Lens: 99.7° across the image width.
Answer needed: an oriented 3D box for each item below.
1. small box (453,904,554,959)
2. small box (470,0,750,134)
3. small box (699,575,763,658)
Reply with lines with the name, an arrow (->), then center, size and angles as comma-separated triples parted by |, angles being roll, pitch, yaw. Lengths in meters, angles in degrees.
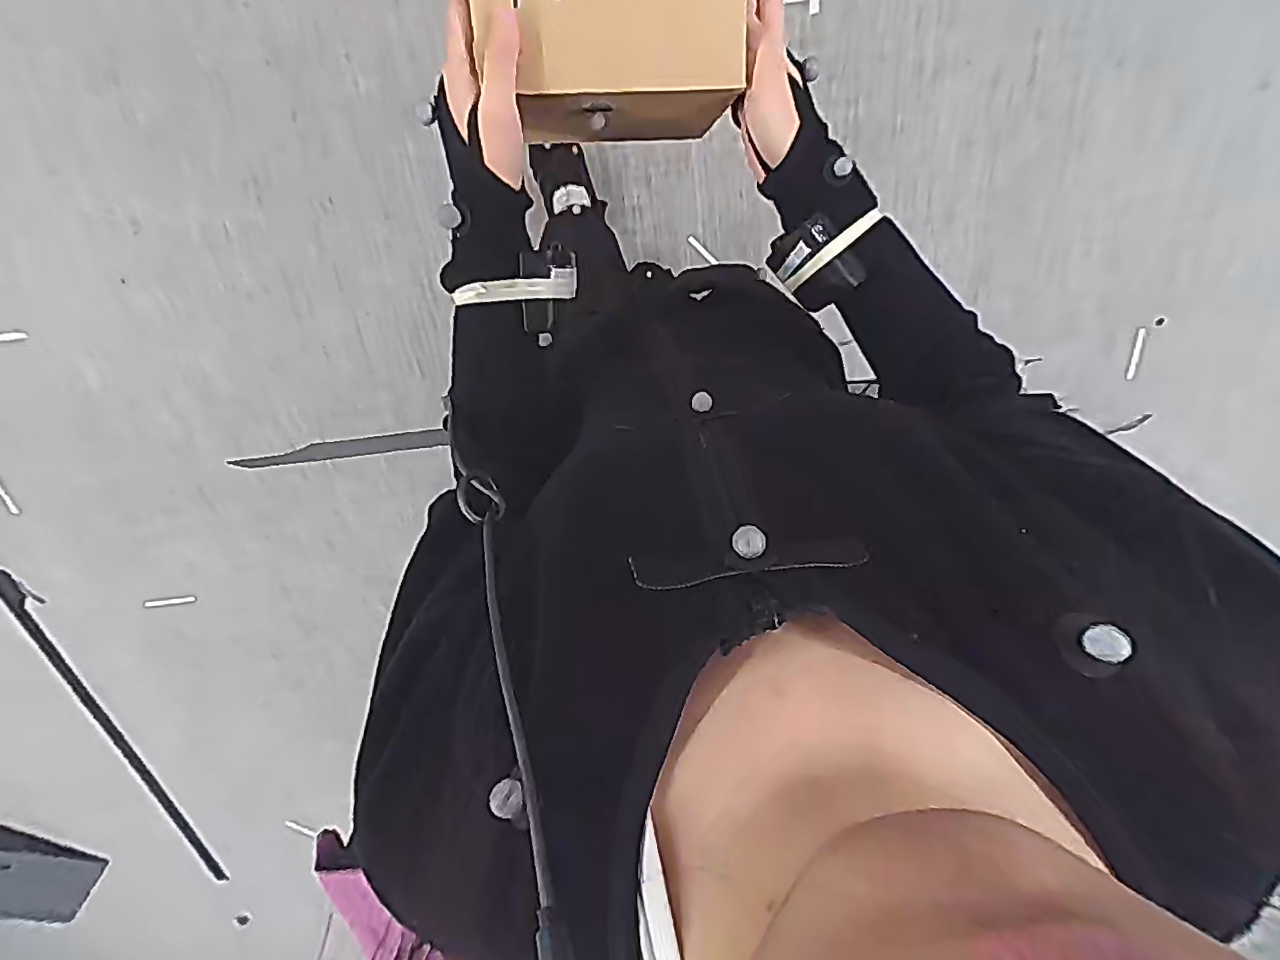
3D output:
small box -> -0.279, 1.006, 1.099 | 0.179, 0.176, 0.168 | -6, 115, -1
small box -> -0.024, -0.363, 0.391 | 0.179, 0.176, 0.168 | -3, 113, -3
small box -> 0.277, 0.418, 1.665 | 0.168, 0.176, 0.179 | -6, 116, 0
